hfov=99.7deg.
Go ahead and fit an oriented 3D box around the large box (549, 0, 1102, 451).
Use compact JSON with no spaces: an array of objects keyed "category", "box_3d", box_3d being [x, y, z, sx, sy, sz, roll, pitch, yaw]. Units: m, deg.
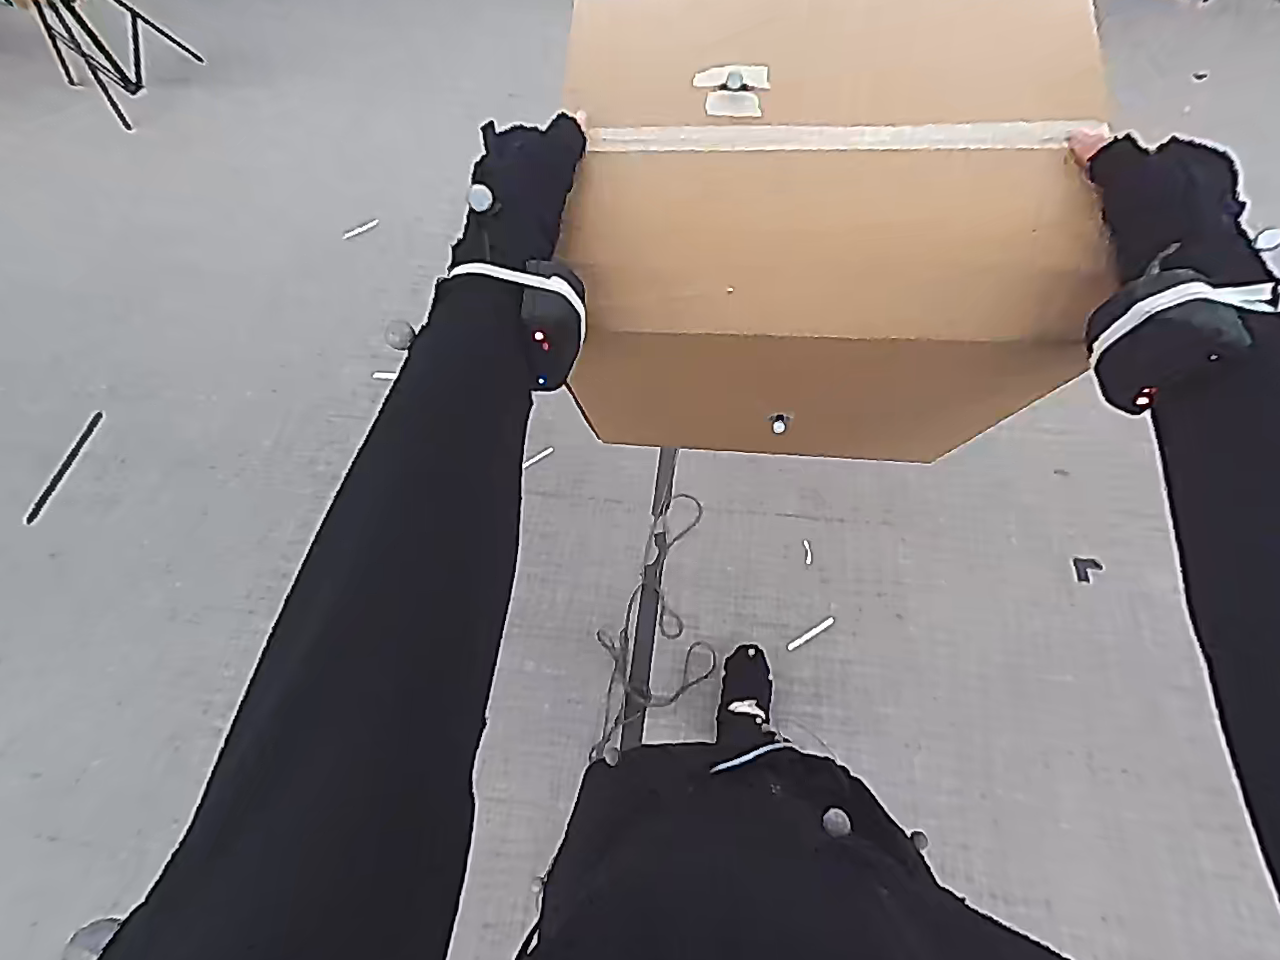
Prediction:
[{"category":"large box","box_3d":[0.154,-0.221,0.573,0.408,0.320,0.320,3,77,8]}]
